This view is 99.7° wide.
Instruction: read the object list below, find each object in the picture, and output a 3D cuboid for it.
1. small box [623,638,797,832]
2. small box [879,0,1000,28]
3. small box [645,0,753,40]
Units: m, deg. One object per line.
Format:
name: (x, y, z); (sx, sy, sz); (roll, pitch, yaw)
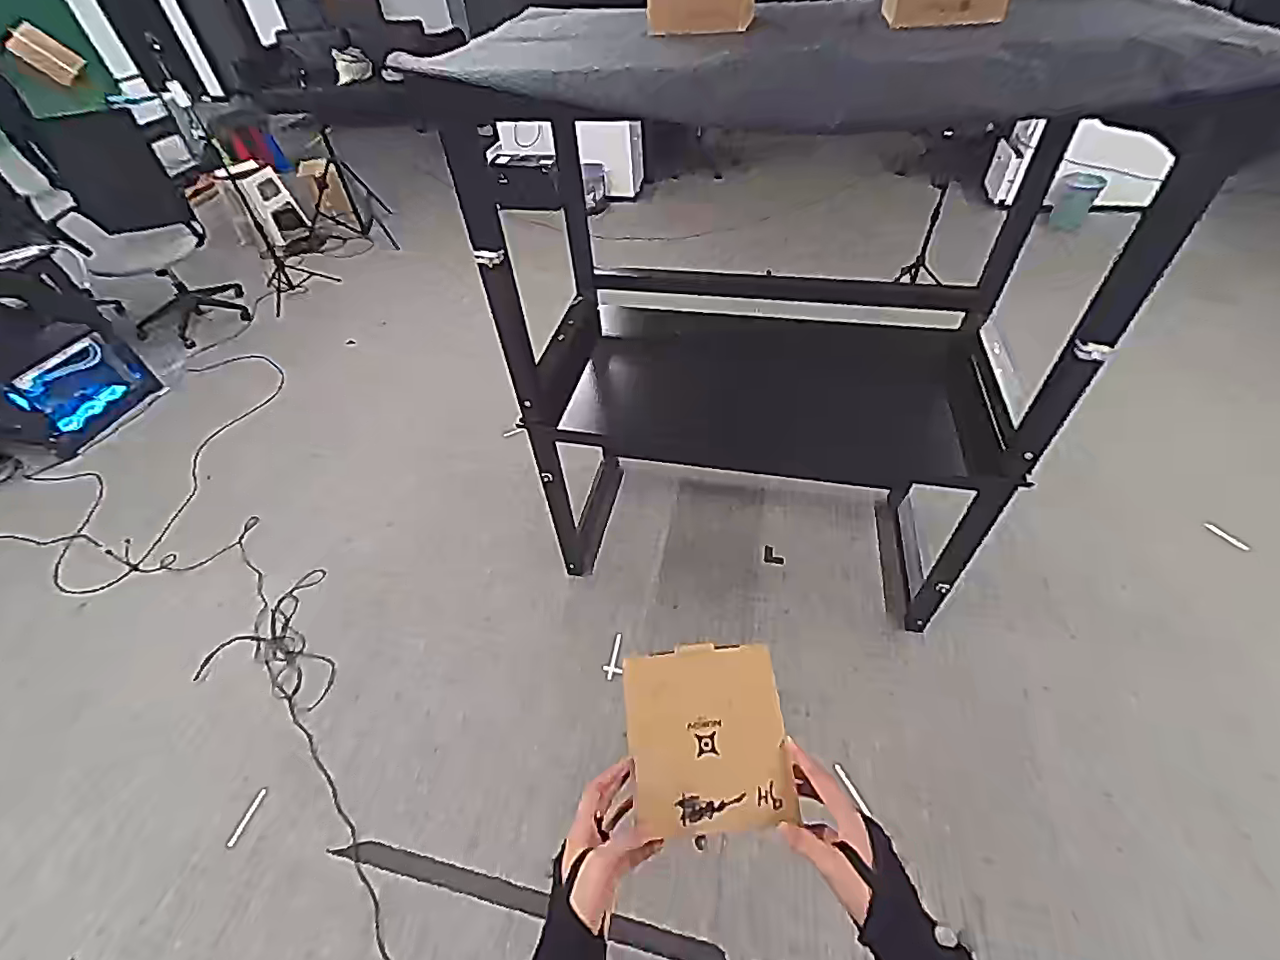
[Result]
small box: (0.068, 0.296, 0.637); (0.168, 0.176, 0.179); (-6, 64, -1)
small box: (0.500, -0.852, 0.874); (0.168, 0.176, 0.179); (6, 49, 9)
small box: (0.109, -0.900, 0.952); (0.179, 0.176, 0.168); (7, 49, 12)
